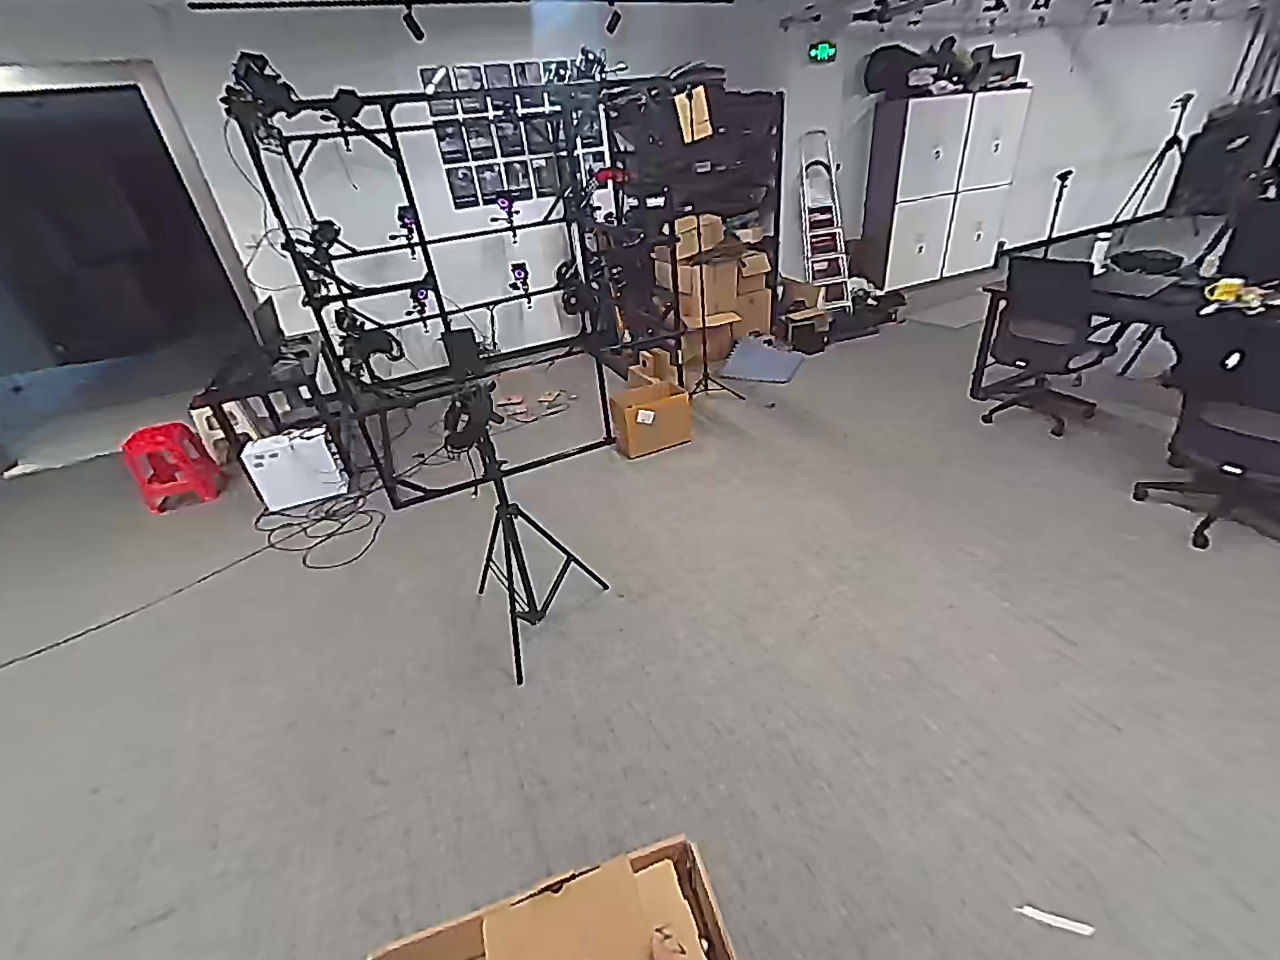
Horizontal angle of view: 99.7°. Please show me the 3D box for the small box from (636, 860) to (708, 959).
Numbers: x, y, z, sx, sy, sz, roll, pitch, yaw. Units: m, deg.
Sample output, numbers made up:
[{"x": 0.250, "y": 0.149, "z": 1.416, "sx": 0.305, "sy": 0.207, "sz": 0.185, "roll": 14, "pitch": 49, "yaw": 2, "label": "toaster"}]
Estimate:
[{"x": 0.005, "y": 0.715, "z": 0.790, "sx": 0.179, "sy": 0.176, "sz": 0.168, "roll": -16, "pitch": 32, "yaw": -13, "label": "small box"}]

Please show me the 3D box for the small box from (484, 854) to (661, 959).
[{"x": -0.057, "y": 0.550, "z": 0.580, "sx": 0.168, "sy": 0.176, "sz": 0.179, "roll": -17, "pitch": 45, "yaw": -12, "label": "small box"}]
